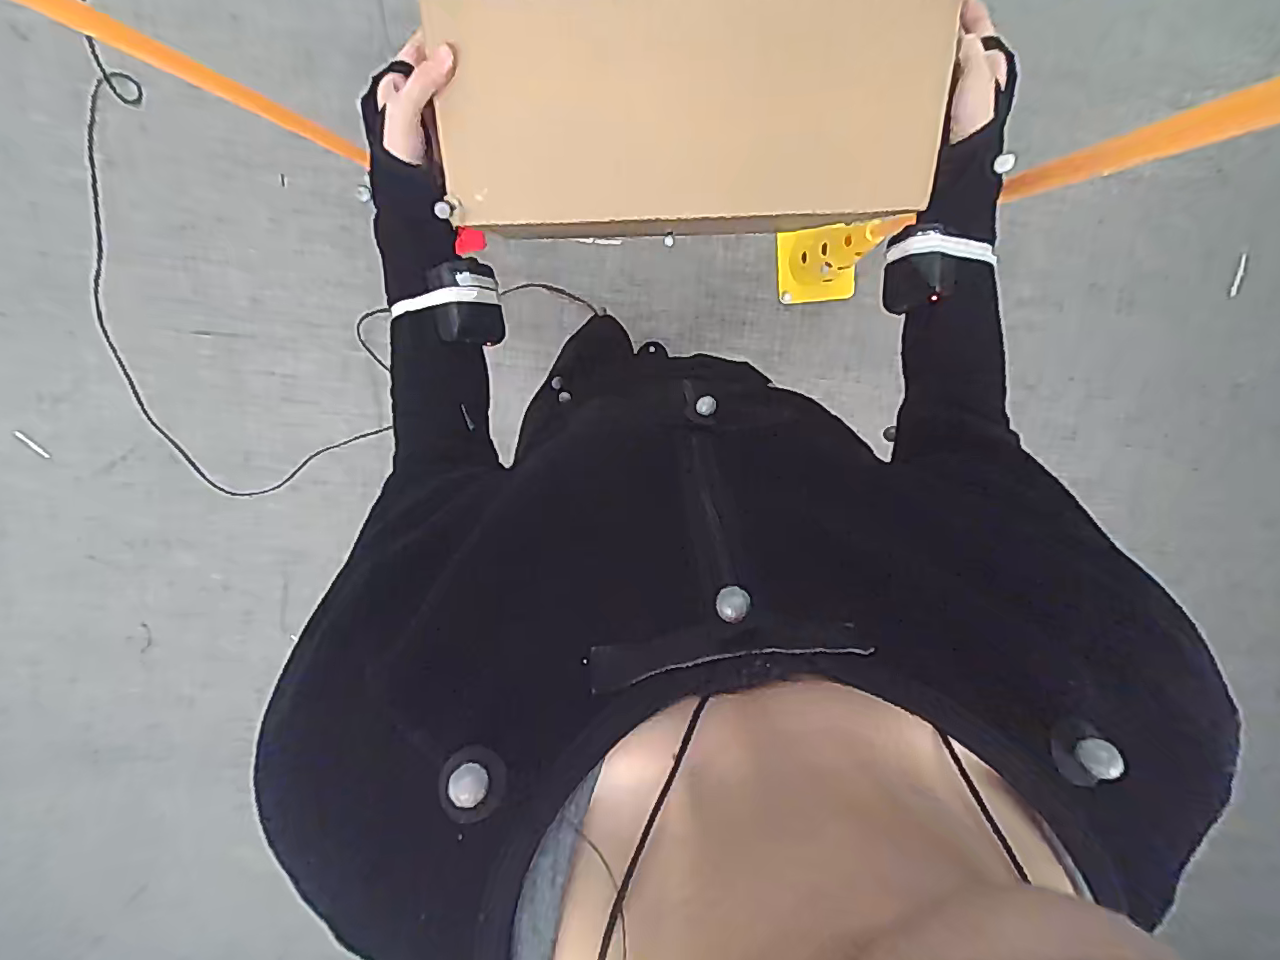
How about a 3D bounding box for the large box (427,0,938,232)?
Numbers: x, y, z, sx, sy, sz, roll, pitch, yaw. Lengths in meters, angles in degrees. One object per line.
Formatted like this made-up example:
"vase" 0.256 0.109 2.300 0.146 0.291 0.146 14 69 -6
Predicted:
"large box" 0.027 -0.433 0.545 0.408 0.320 0.320 -4 112 -4
